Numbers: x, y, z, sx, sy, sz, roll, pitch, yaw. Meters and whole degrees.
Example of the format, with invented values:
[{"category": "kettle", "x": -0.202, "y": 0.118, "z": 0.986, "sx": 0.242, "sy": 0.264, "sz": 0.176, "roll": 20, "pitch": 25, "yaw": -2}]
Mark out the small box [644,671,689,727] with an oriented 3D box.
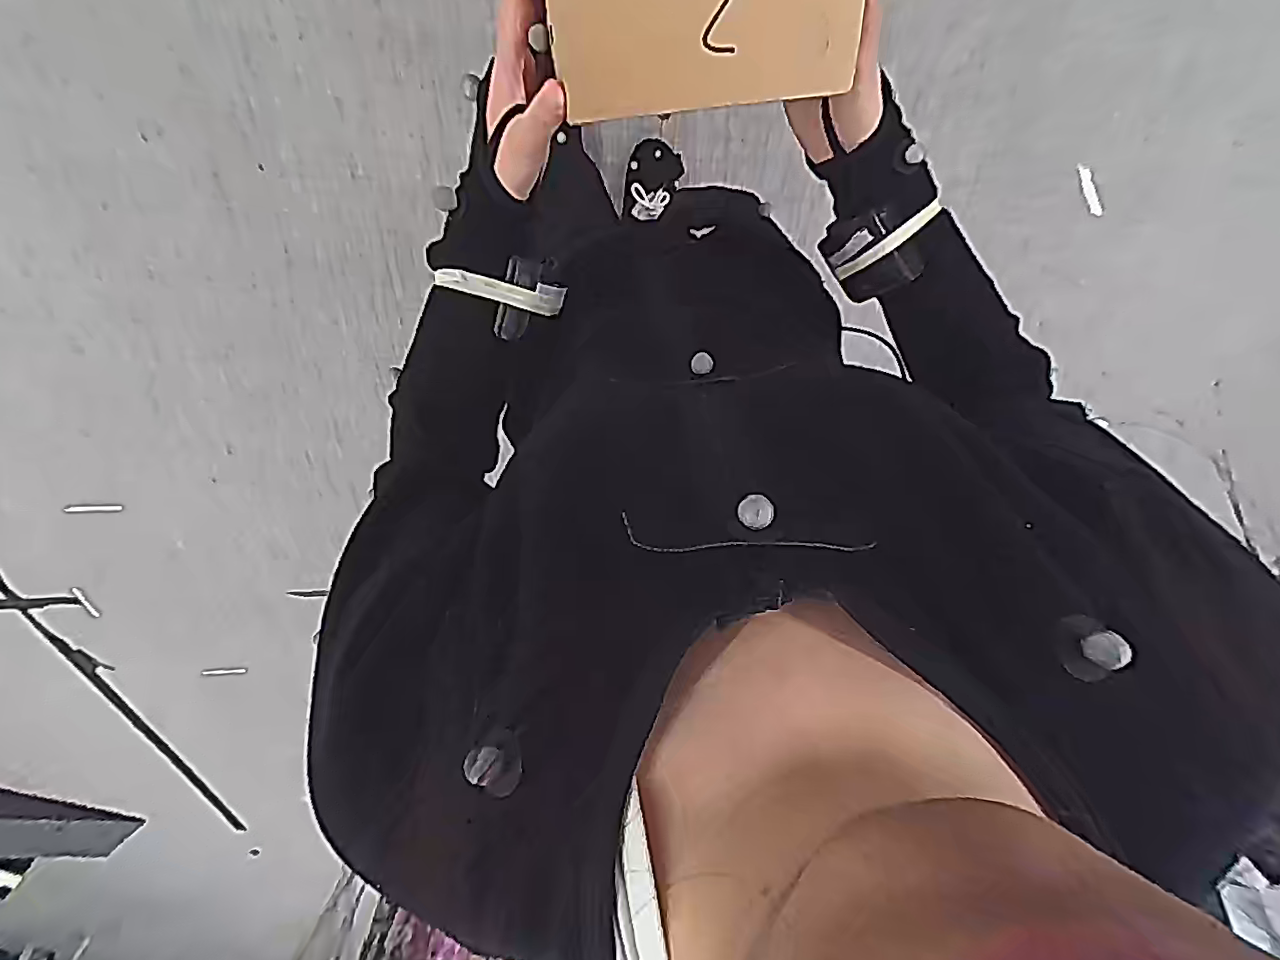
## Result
[{"category": "small box", "x": 0.110, "y": 0.942, "z": 2.339, "sx": 0.168, "sy": 0.176, "sz": 0.179, "roll": -1, "pitch": 128, "yaw": -7}]
